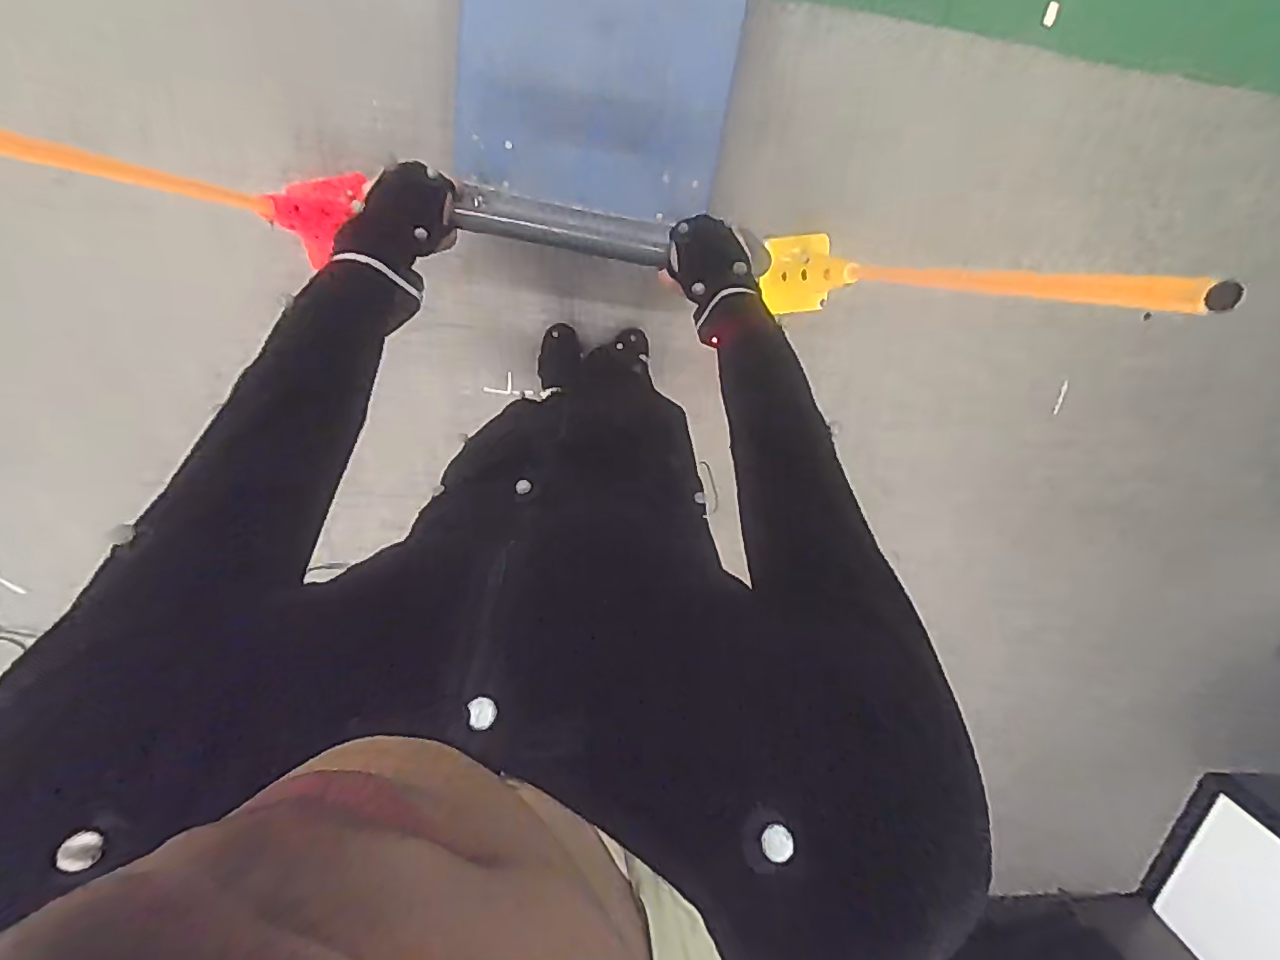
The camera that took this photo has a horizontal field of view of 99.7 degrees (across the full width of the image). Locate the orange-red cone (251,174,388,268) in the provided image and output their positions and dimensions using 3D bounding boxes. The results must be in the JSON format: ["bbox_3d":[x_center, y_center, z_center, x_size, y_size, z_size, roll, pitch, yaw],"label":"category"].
[{"bbox_3d":[-0.727,-0.579,1.175,0.199,0.360,0.198,-10,111,-1],"label":"orange-red cone"}]
